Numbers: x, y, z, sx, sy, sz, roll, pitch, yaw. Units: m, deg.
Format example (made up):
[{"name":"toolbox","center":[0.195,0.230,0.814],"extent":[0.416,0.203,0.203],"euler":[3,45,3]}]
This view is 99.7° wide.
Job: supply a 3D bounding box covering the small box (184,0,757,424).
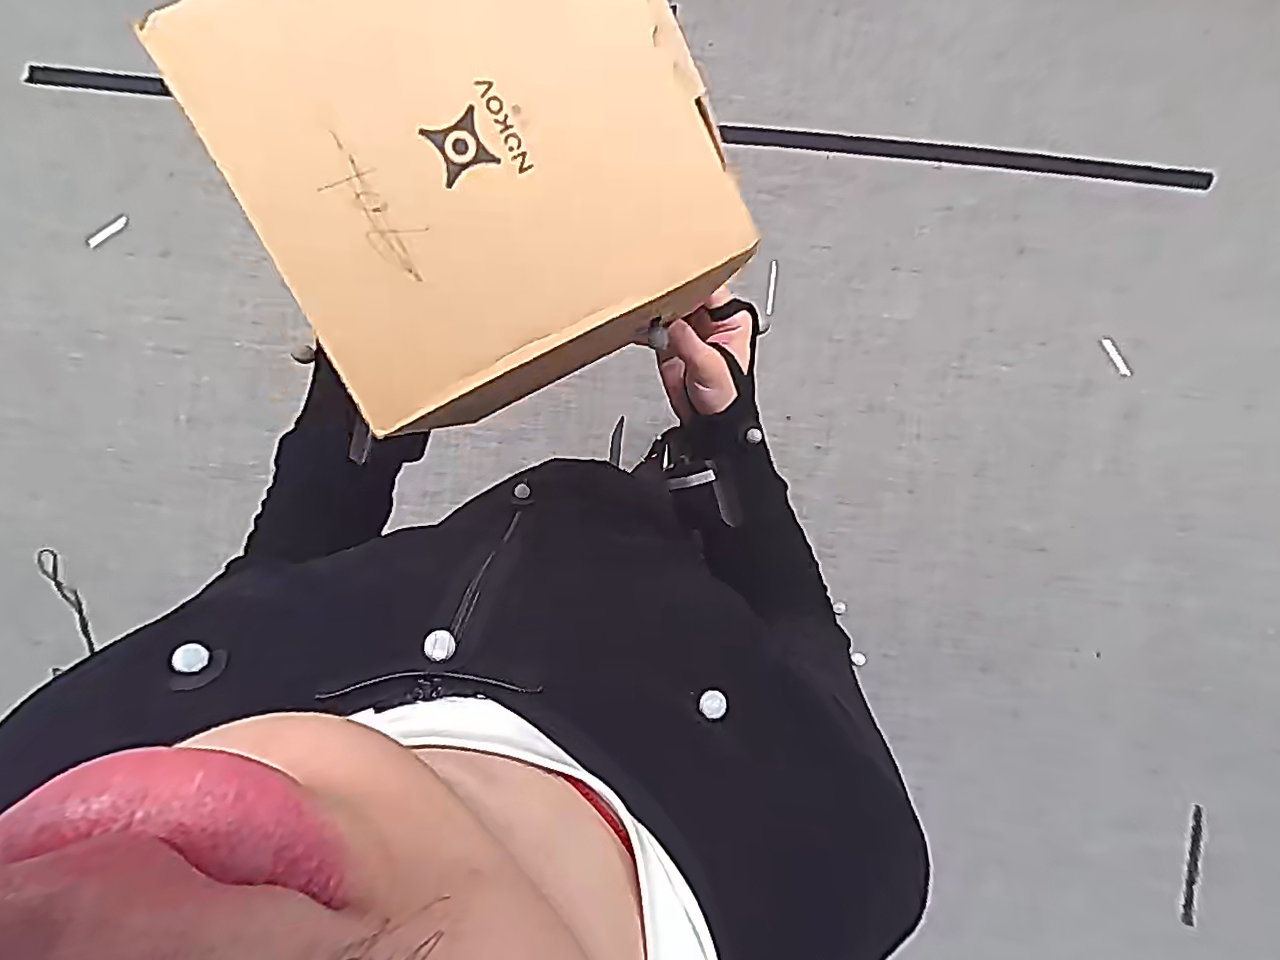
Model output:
[{"name":"small box","center":[-0.068,-0.144,0.296],"extent":[0.179,0.176,0.168],"euler":[-28,98,-1]}]
